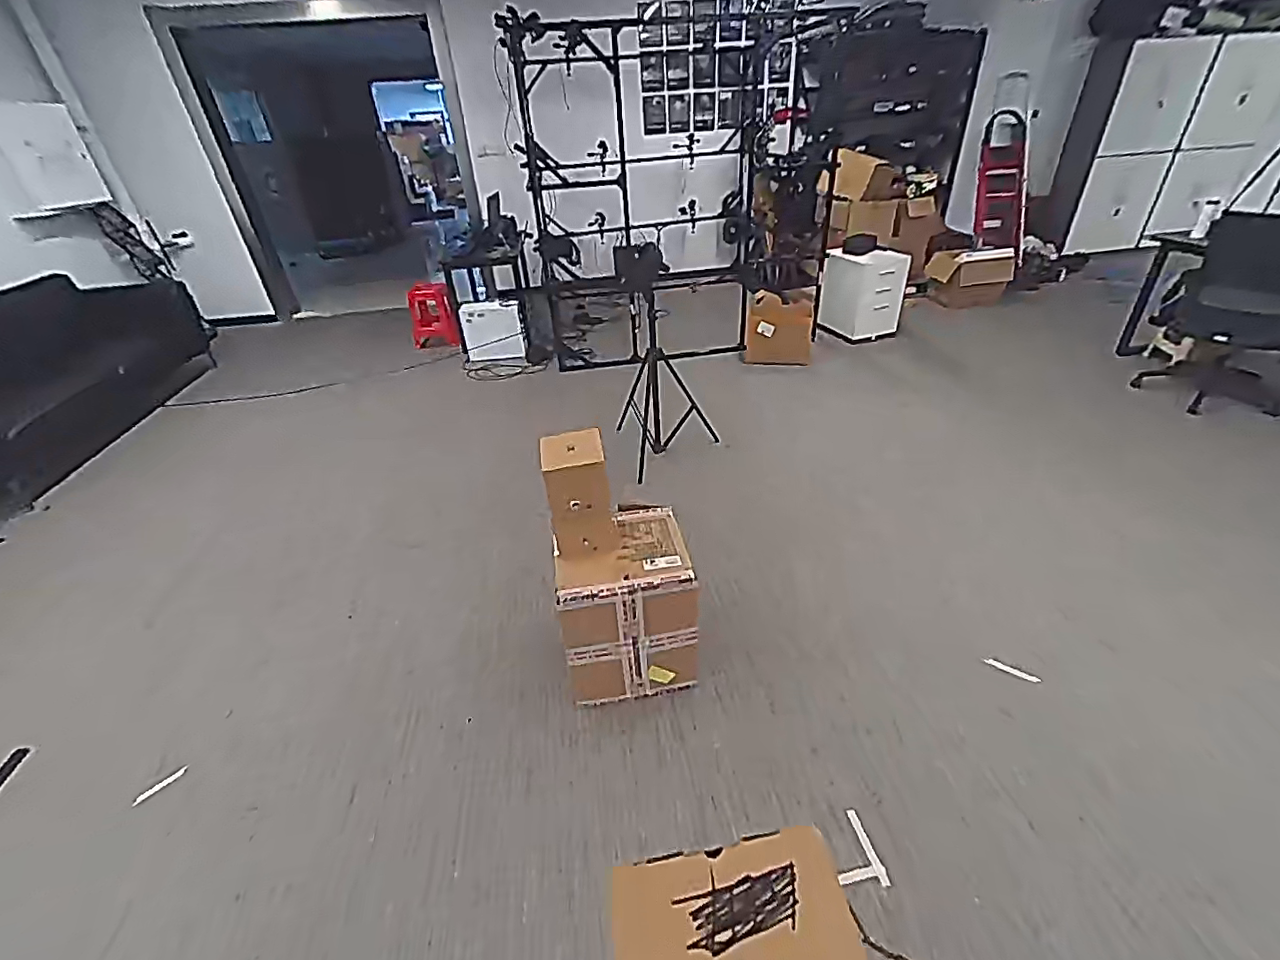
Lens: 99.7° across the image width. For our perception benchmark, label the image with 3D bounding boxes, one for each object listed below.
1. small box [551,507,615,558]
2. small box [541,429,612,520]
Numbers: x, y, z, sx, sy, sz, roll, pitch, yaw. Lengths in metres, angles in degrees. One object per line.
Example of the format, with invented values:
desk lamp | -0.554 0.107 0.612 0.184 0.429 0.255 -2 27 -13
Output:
small box | -0.172 0.105 1.602 0.168 0.176 0.179 -10 36 -5
small box | -0.176 -0.016 1.491 0.168 0.176 0.179 -10 37 -5
